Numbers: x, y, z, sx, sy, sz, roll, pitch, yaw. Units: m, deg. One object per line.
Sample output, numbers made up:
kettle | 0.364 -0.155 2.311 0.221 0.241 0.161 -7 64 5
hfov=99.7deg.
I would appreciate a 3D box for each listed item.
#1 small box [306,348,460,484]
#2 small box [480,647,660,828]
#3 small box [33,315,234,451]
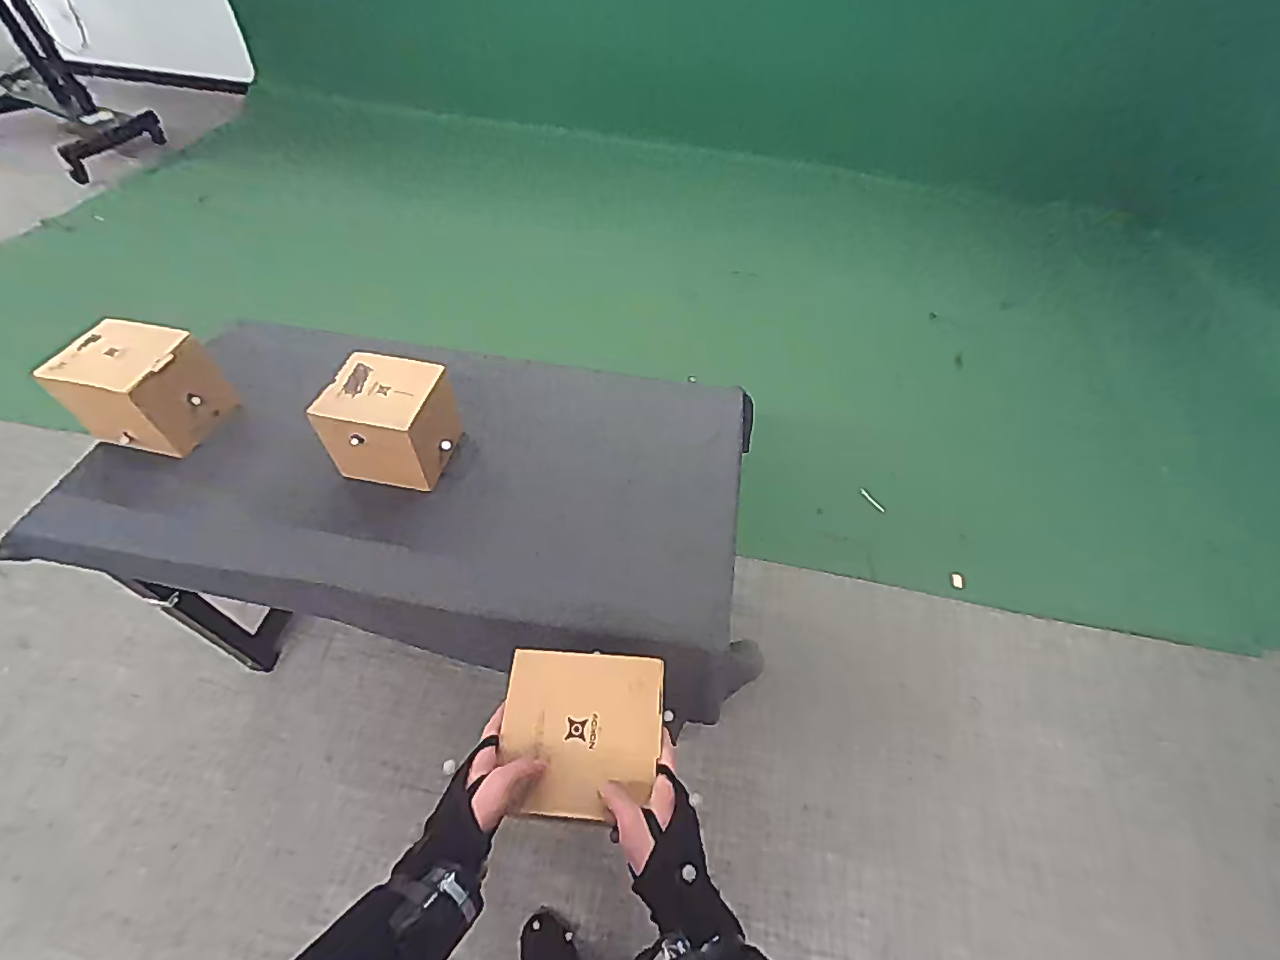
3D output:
small box | -0.452 -0.112 0.986 0.179 0.176 0.168 10 53 3
small box | -0.067 0.311 0.645 0.179 0.176 0.168 1 55 4
small box | -0.916 -0.174 1.003 0.179 0.176 0.168 11 52 4
